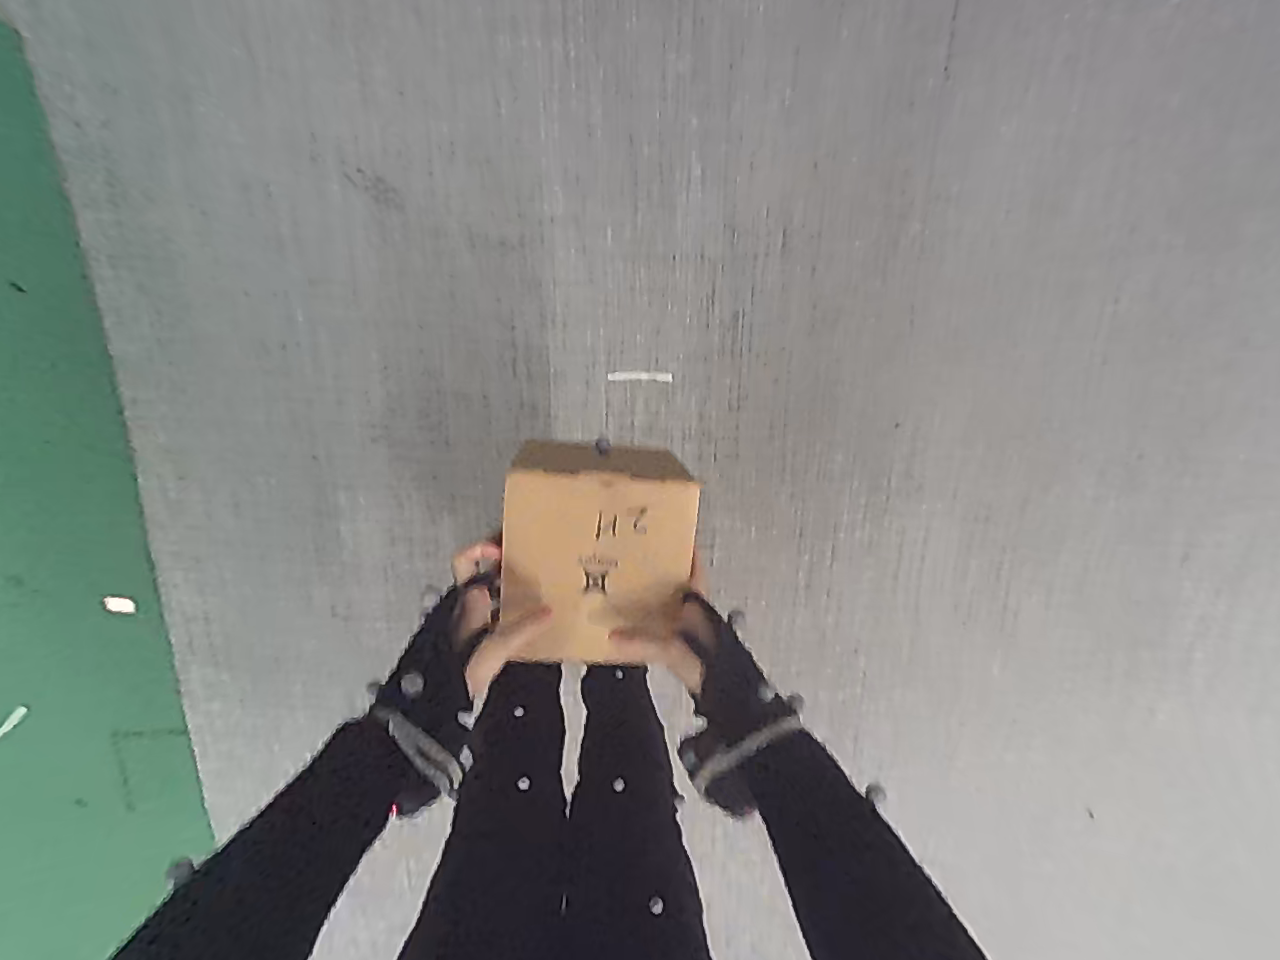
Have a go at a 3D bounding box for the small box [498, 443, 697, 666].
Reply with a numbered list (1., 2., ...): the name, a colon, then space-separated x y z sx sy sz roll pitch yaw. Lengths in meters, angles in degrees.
1. small box: -0.046 0.066 0.560 0.168 0.176 0.179 5 102 -7
